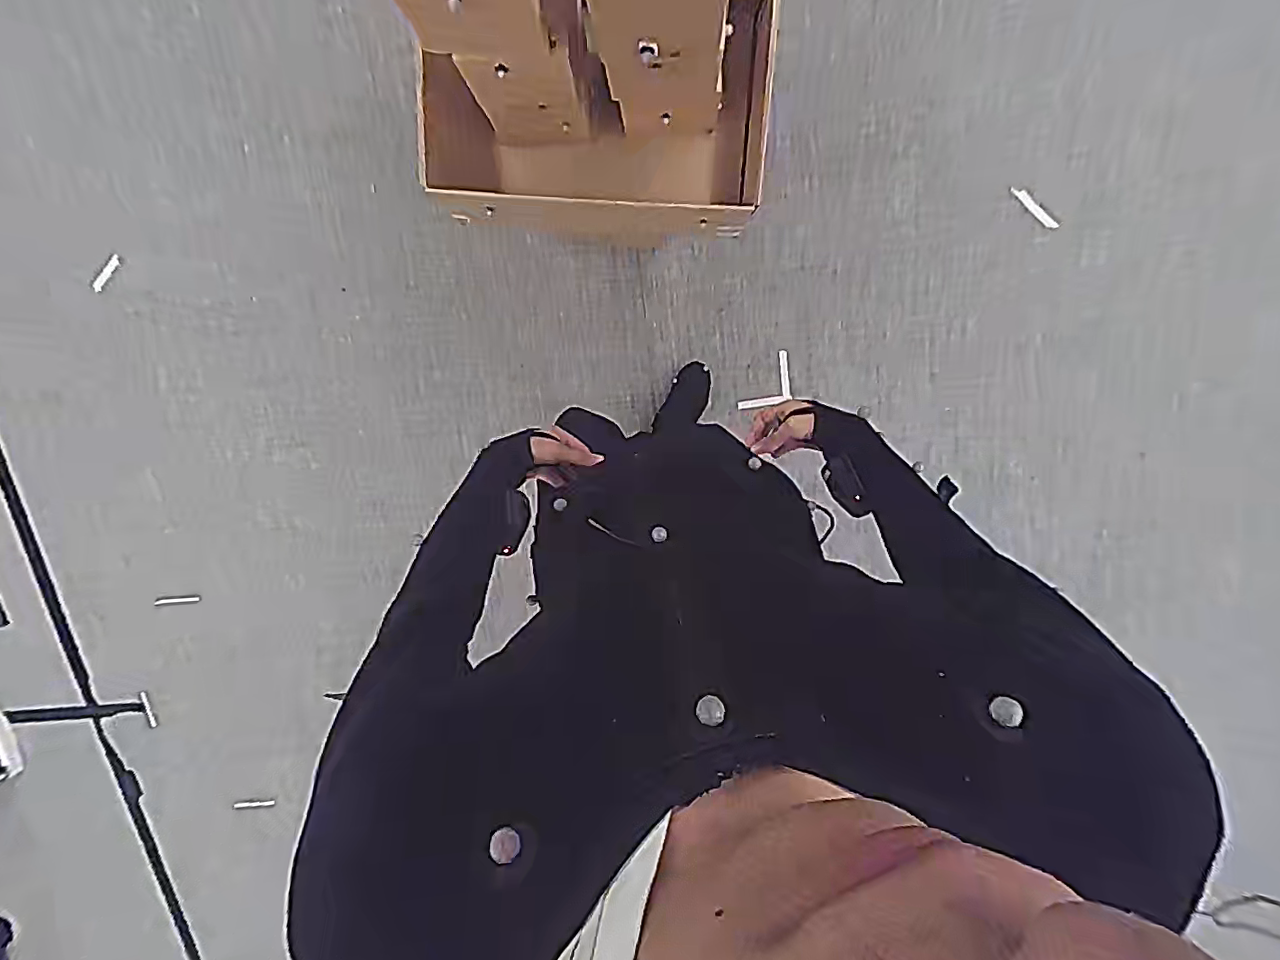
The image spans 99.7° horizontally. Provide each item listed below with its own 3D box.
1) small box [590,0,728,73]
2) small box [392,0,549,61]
[{"bbox_3d":[0.024,-0.640,0.657,0.168,0.176,0.179,2,102,3],"label":"small box"},{"bbox_3d":[-0.206,-0.651,0.661,0.179,0.176,0.168,3,102,-1],"label":"small box"}]
